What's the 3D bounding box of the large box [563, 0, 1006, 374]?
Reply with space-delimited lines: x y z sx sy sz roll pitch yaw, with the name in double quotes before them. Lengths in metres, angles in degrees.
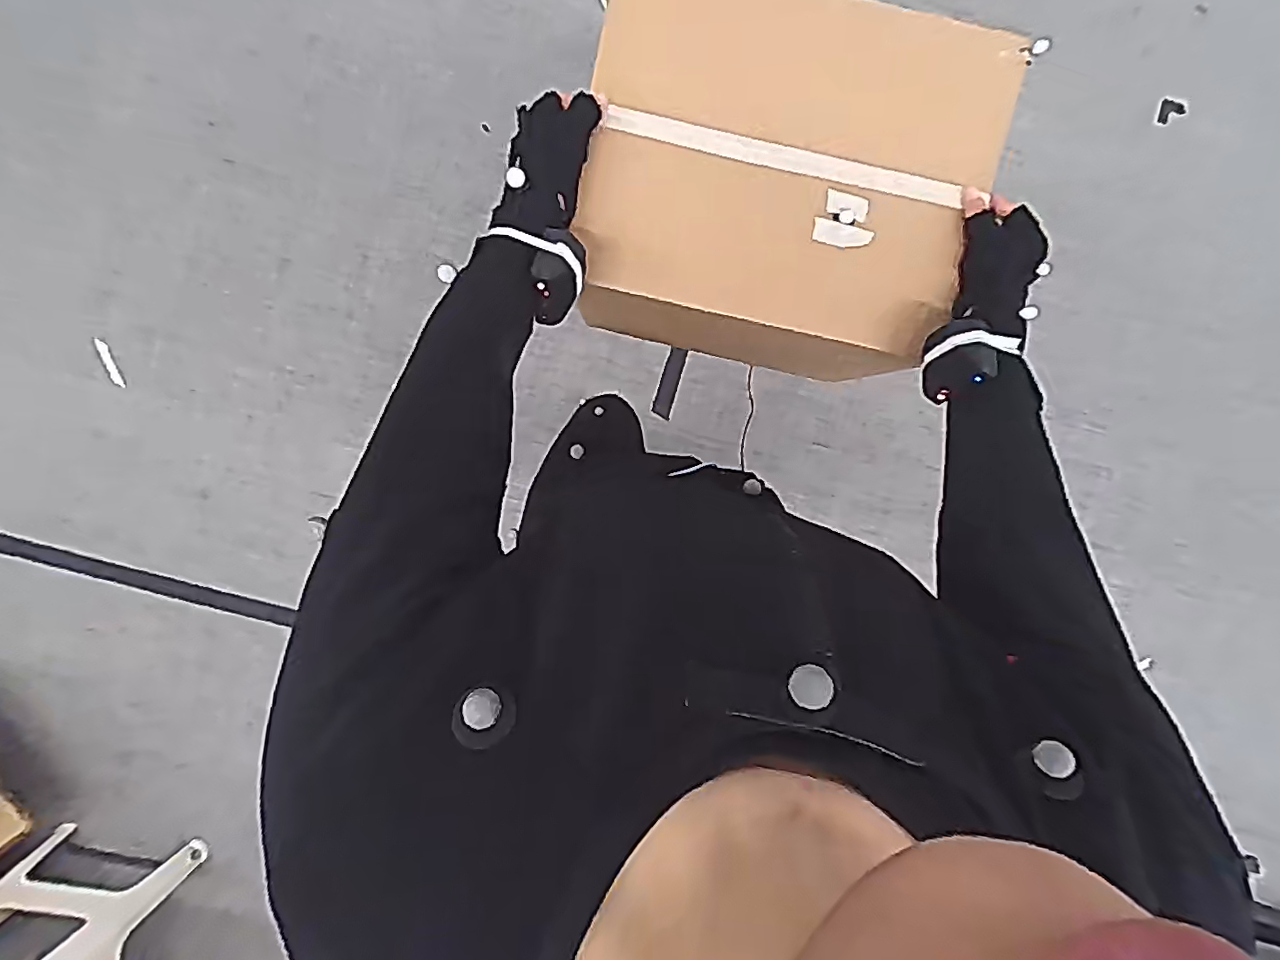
"large box" 0.138 -0.338 0.692 0.408 0.320 0.320 12 97 -2
